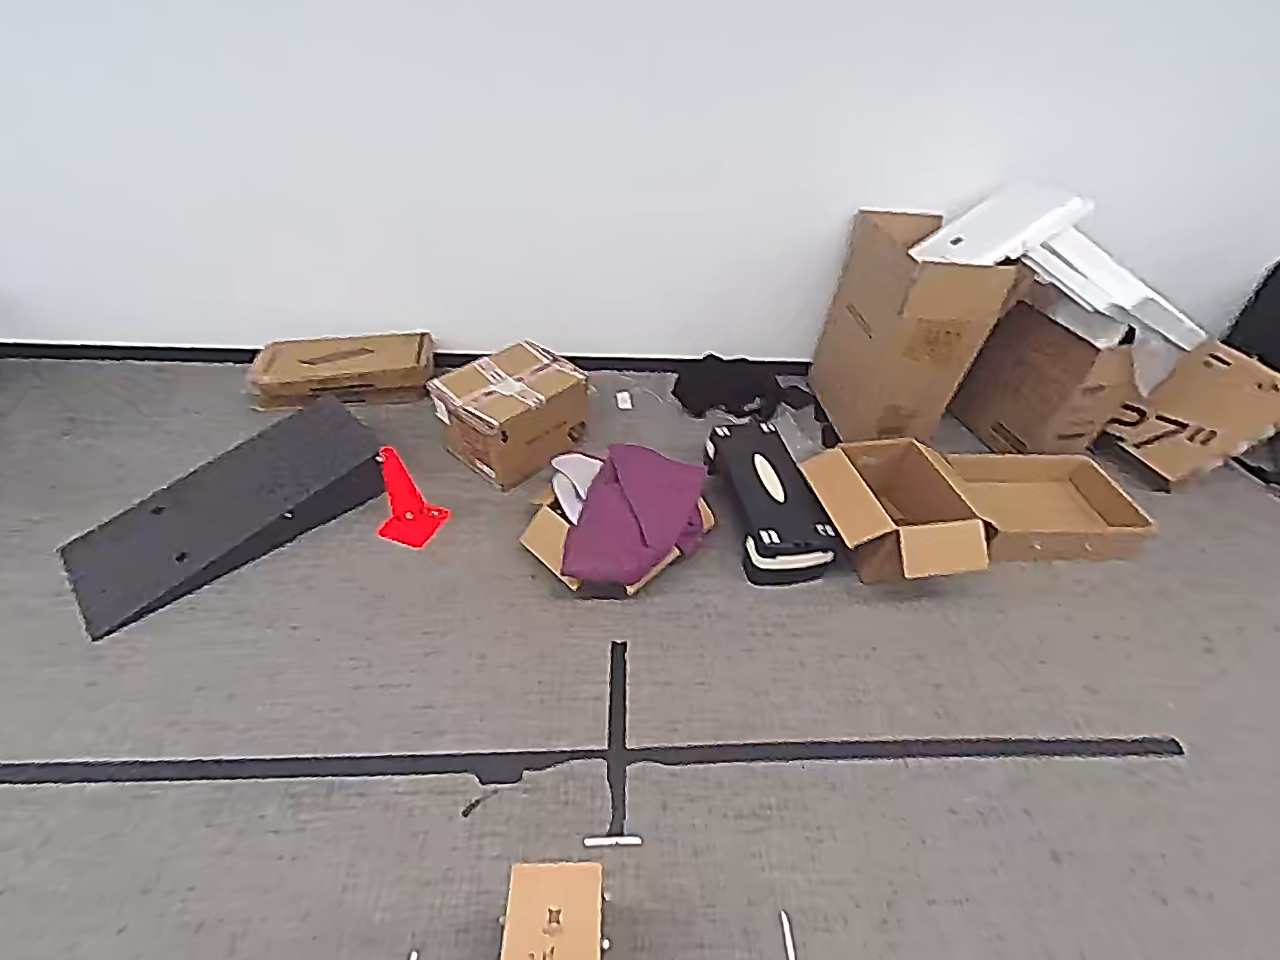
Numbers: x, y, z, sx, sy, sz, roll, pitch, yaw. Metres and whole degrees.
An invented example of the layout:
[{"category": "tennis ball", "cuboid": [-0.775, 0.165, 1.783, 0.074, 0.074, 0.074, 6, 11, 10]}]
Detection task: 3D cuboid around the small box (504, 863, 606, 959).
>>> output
[{"category": "small box", "cuboid": [-0.146, 0.817, 0.974, 0.168, 0.176, 0.179, 1, 43, -3]}]
